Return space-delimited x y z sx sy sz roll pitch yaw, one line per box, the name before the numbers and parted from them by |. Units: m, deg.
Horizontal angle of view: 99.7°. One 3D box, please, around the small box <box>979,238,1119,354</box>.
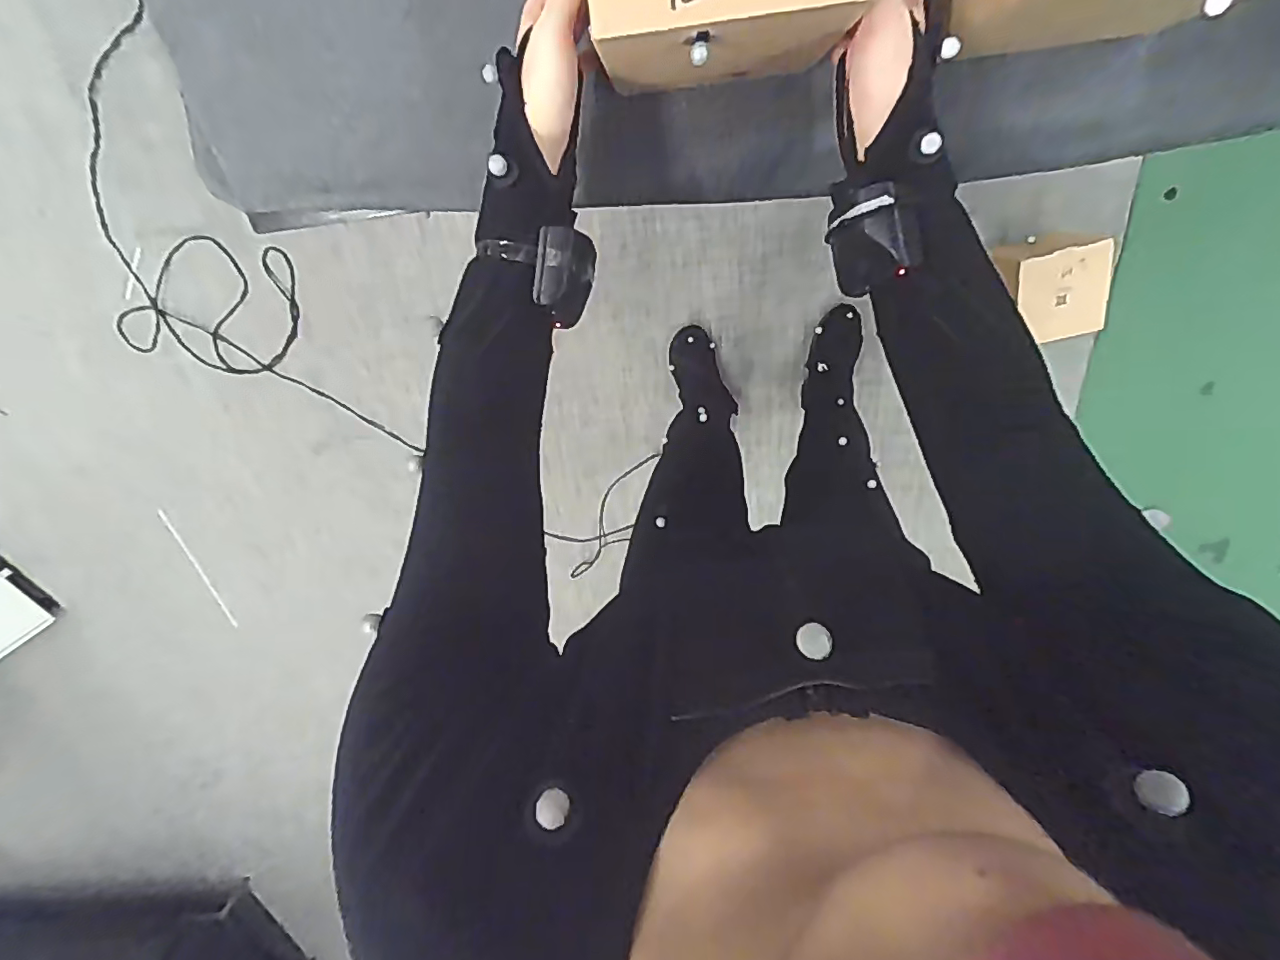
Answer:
small box | 0.823 -0.381 1.109 0.168 0.176 0.179 -12 116 9
